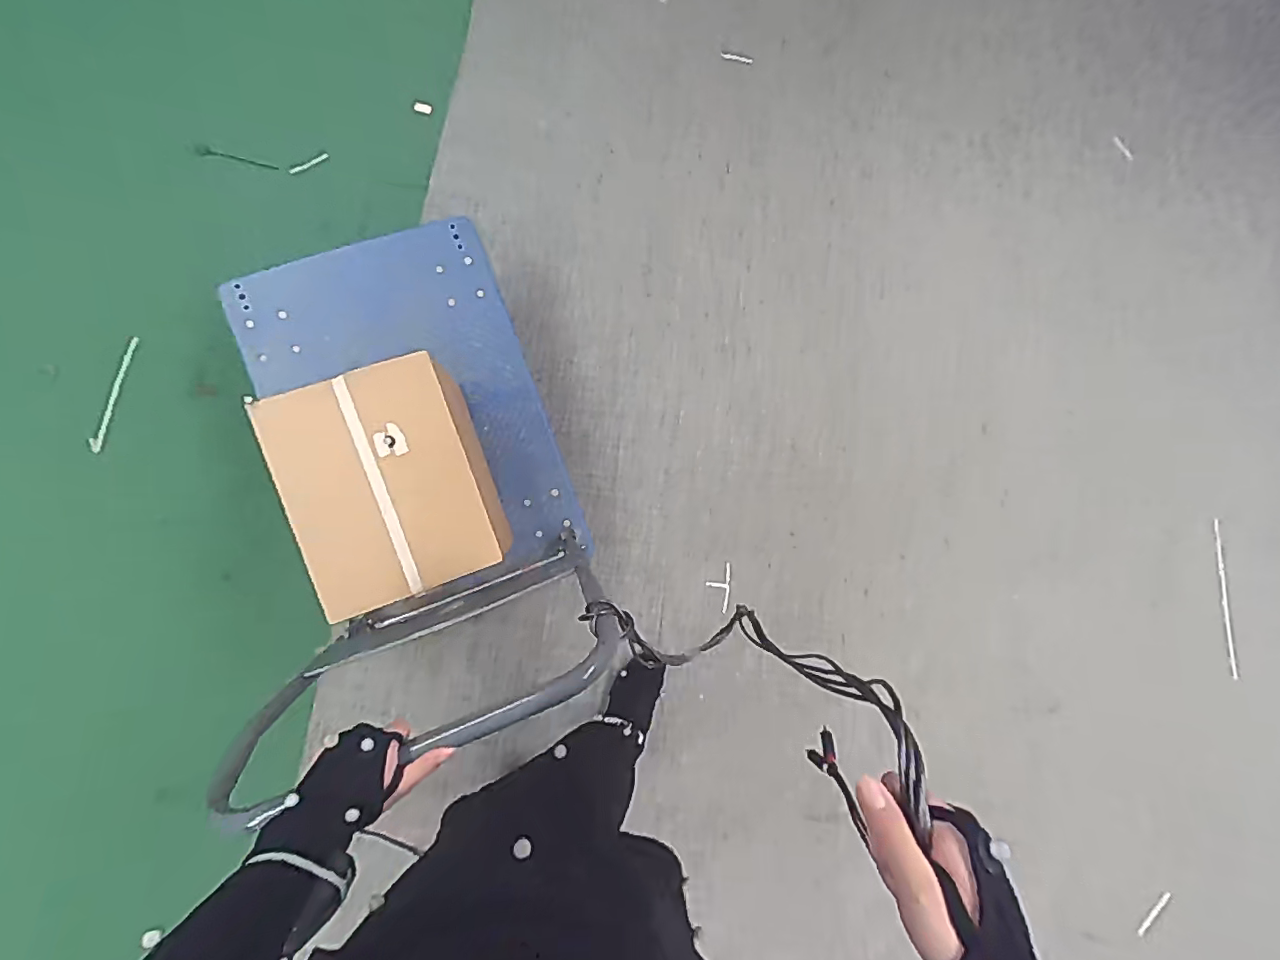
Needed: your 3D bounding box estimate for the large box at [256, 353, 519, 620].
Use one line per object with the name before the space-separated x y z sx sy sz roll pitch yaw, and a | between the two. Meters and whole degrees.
large box | -0.469 0.013 1.099 0.320 0.320 0.408 -20 91 -9
